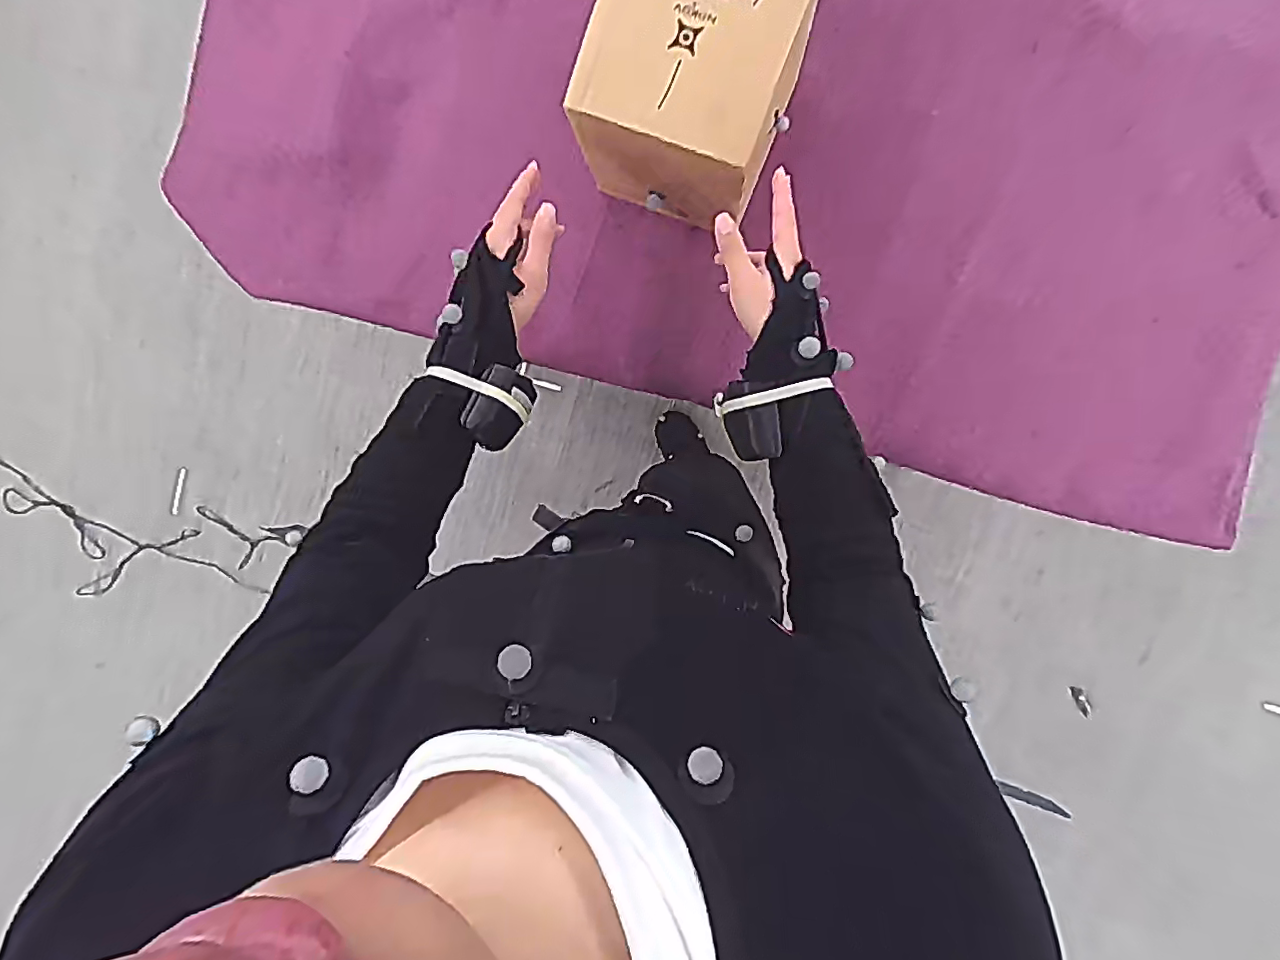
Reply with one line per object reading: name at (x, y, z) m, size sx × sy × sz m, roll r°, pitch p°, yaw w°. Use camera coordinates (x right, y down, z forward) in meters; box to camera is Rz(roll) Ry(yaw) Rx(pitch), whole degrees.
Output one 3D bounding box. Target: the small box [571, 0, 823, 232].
small box at (0.055, -0.370, 0.509) m, size 0.168 × 0.176 × 0.179 m, roll 22°, pitch 97°, yaw 4°
